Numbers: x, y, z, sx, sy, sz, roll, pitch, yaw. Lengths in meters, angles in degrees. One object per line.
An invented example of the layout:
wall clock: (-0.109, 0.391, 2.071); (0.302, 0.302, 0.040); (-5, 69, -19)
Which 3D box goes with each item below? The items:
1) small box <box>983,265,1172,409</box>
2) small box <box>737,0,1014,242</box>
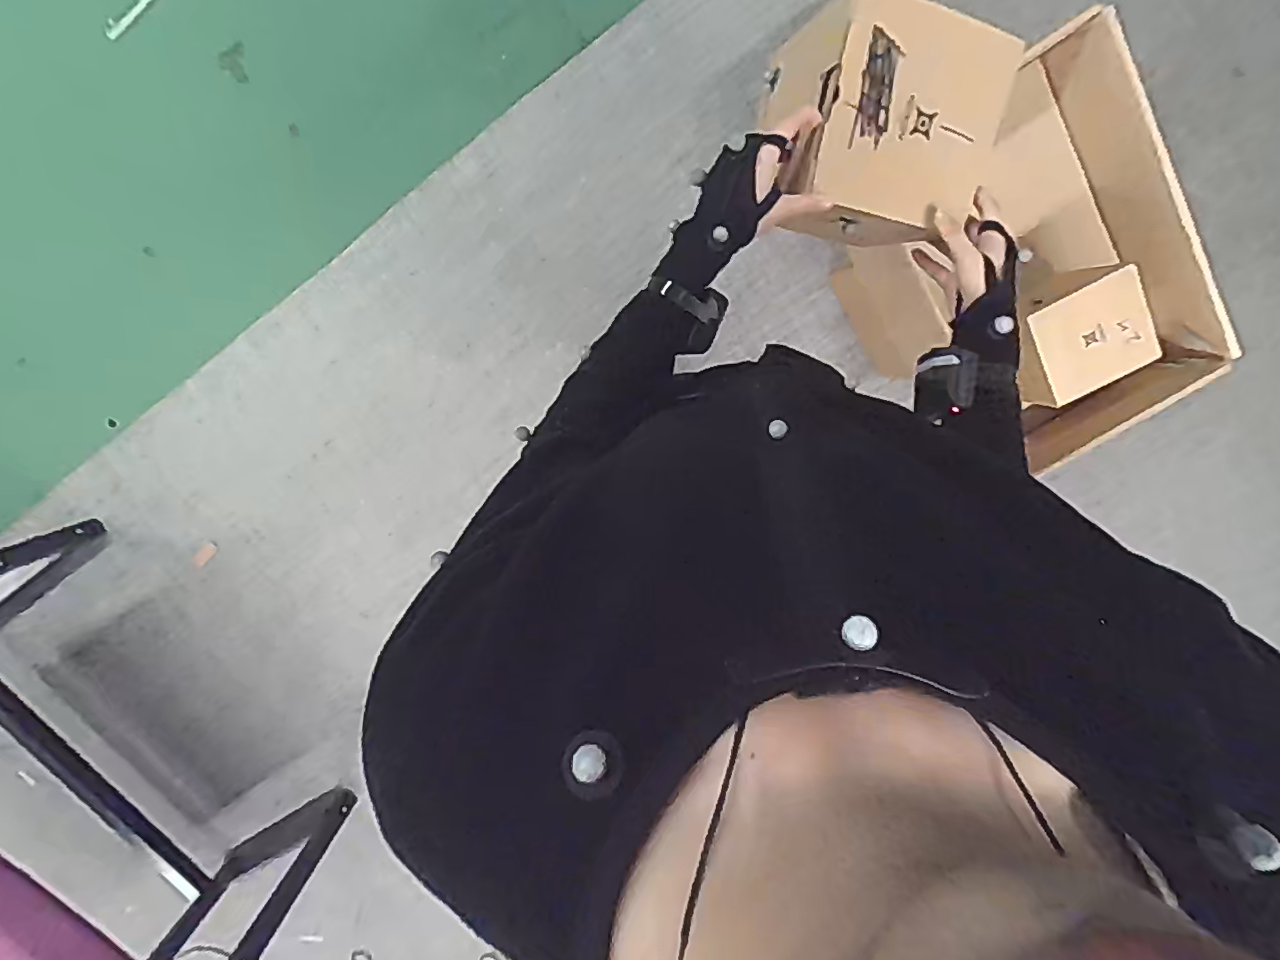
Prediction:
small box: (0.724, -0.238, 0.922); (0.179, 0.176, 0.168); (-27, 102, 8)
small box: (0.218, -0.350, 0.551); (0.179, 0.176, 0.168); (5, 107, -15)
